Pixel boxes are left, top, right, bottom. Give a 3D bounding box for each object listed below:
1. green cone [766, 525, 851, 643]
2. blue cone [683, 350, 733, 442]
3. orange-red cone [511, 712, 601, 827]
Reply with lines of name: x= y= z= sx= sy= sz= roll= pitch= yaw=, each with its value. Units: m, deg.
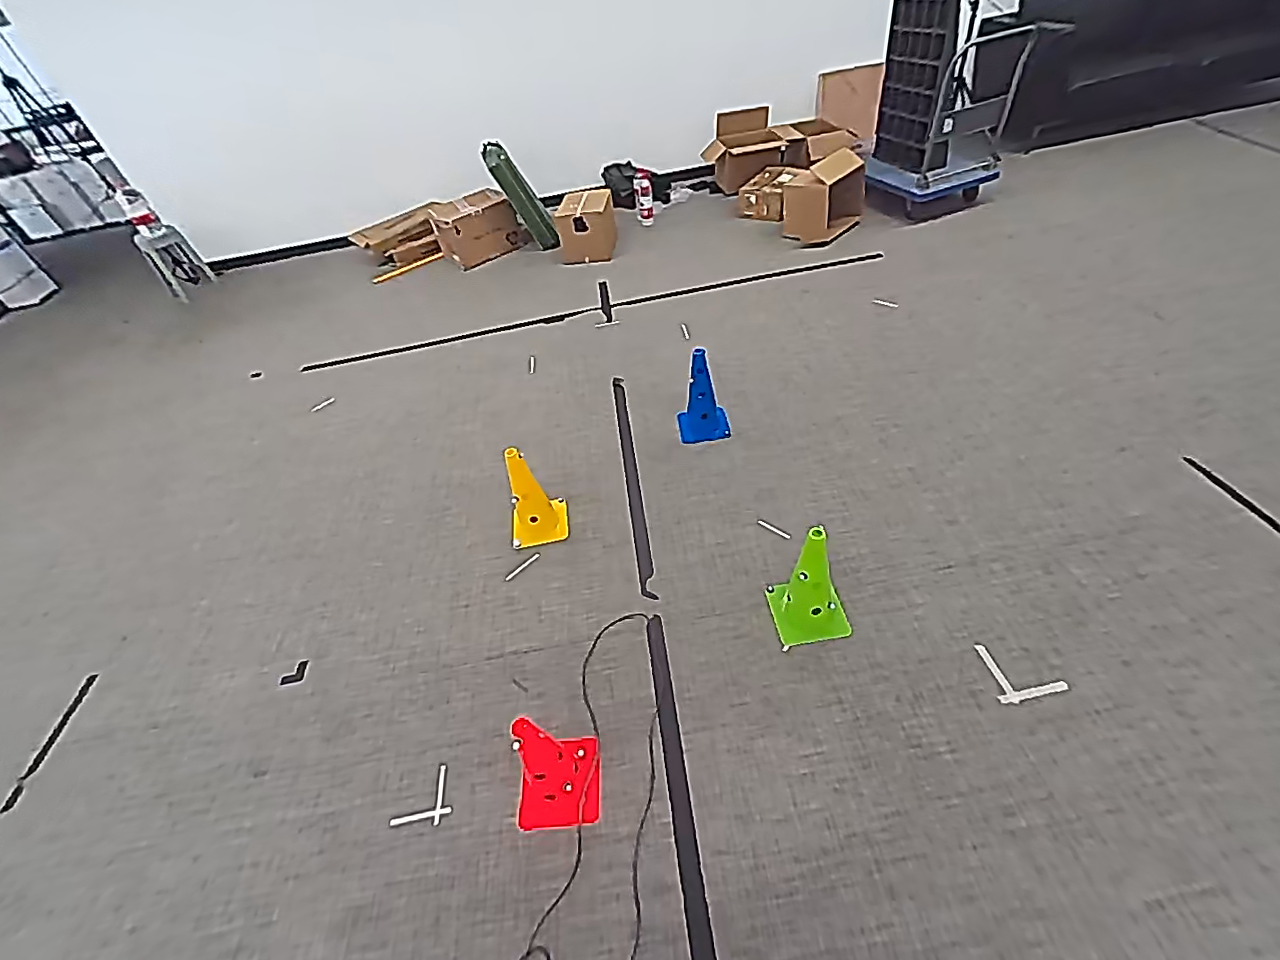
green cone: x=0.467 y=0.257 z=1.456 sx=0.202 sy=0.368 sz=0.200 roll=-9 pitch=44 yaw=0
blue cone: x=0.256 y=-0.341 z=2.122 sx=0.192 sy=0.380 sz=0.193 roll=-7 pitch=45 yaw=3
orange-red cone: x=-0.224 y=0.622 z=1.227 sx=0.199 sy=0.360 sz=0.198 roll=-8 pitch=43 yaw=5
